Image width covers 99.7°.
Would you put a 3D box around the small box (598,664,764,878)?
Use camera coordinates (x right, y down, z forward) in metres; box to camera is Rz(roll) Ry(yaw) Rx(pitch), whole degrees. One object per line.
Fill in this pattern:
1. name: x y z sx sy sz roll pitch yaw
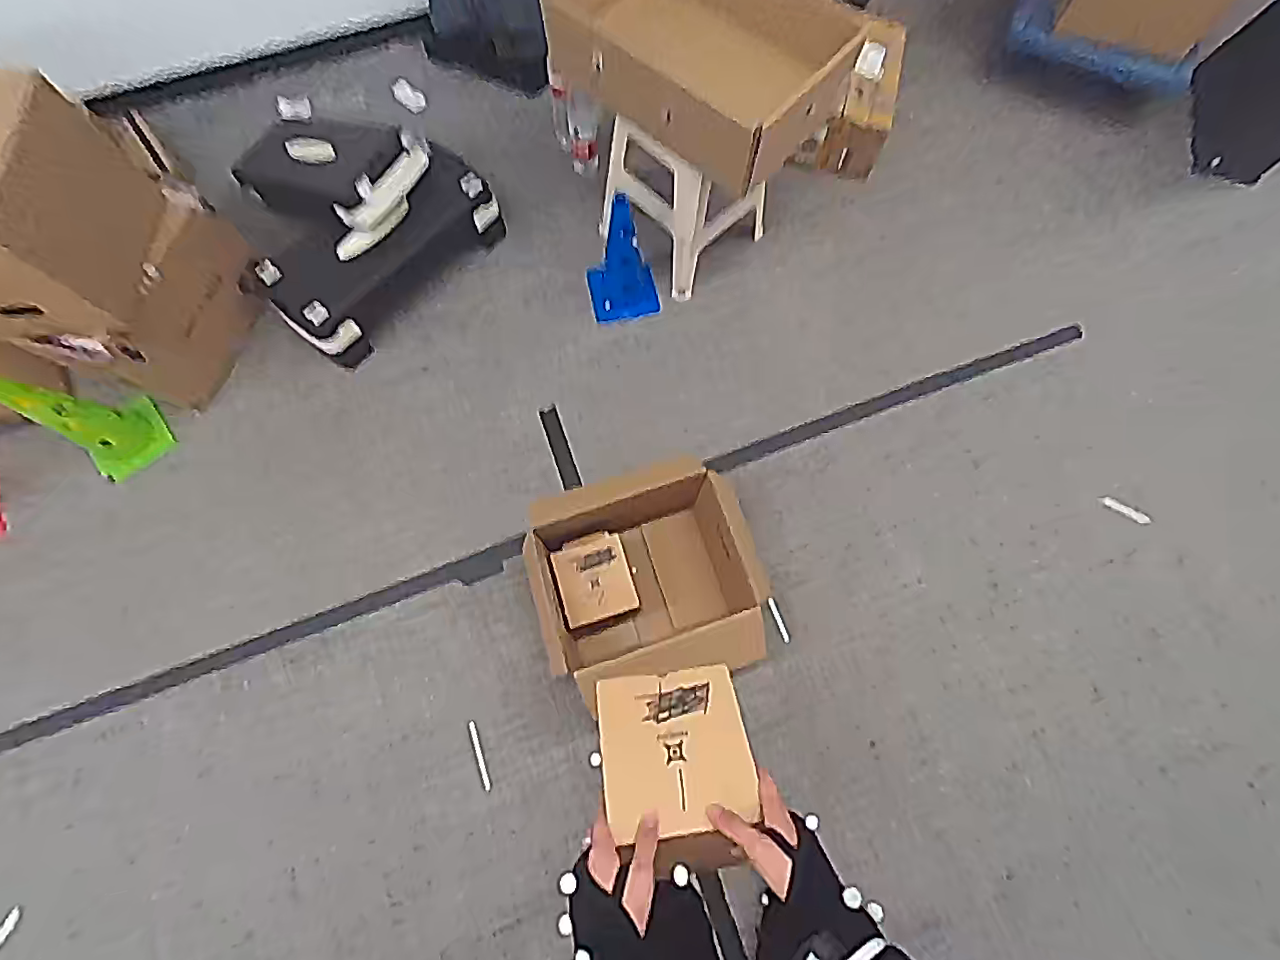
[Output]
1. small box: 0.037 0.352 0.660 0.168 0.176 0.179 -5 43 -5
